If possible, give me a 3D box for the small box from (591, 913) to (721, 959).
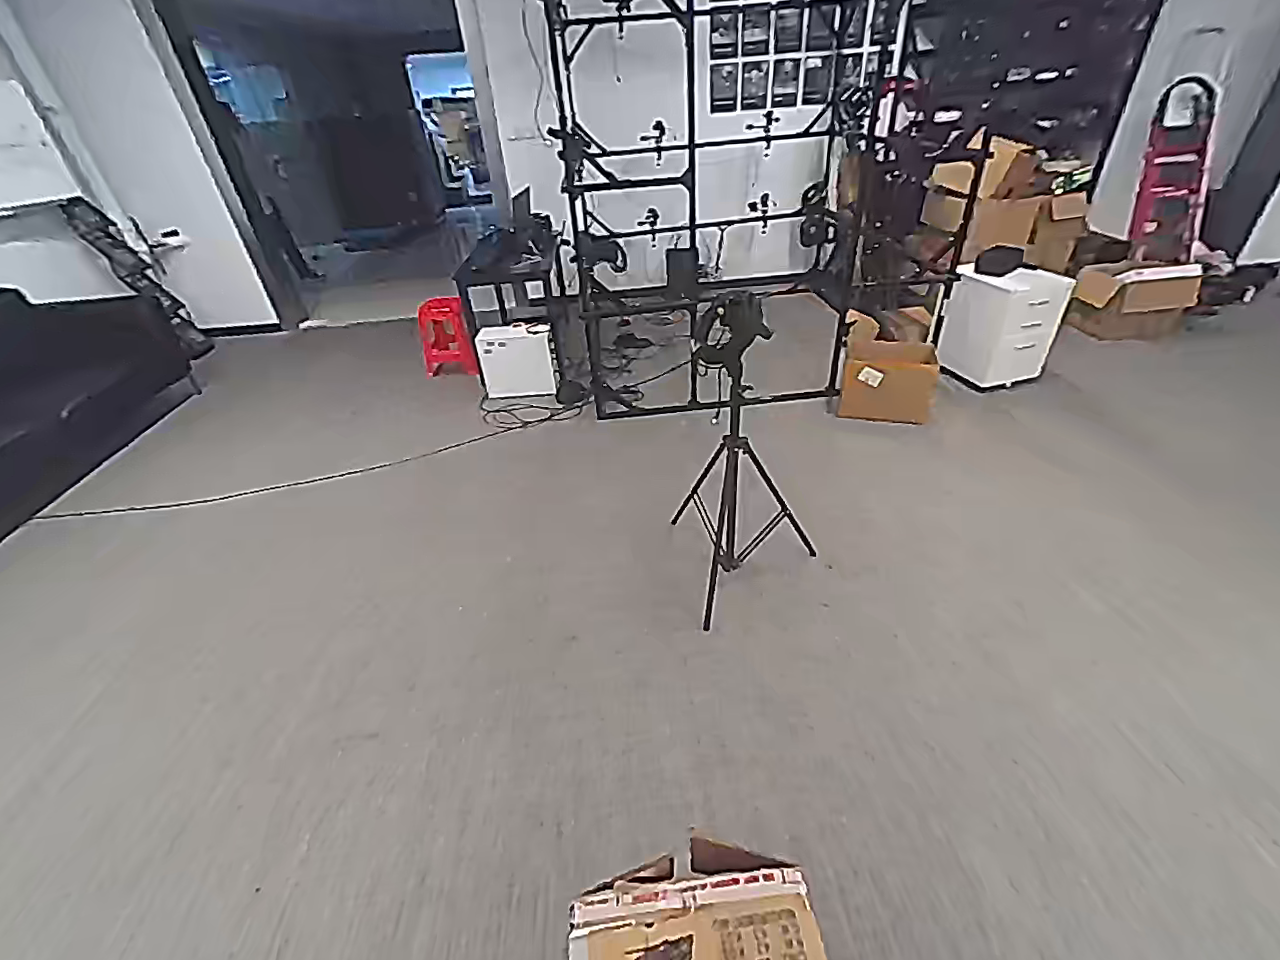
[{"bbox_3d":[0.029,0.694,0.690,0.168,0.176,0.179,-8,39,-2],"label":"small box"}]
